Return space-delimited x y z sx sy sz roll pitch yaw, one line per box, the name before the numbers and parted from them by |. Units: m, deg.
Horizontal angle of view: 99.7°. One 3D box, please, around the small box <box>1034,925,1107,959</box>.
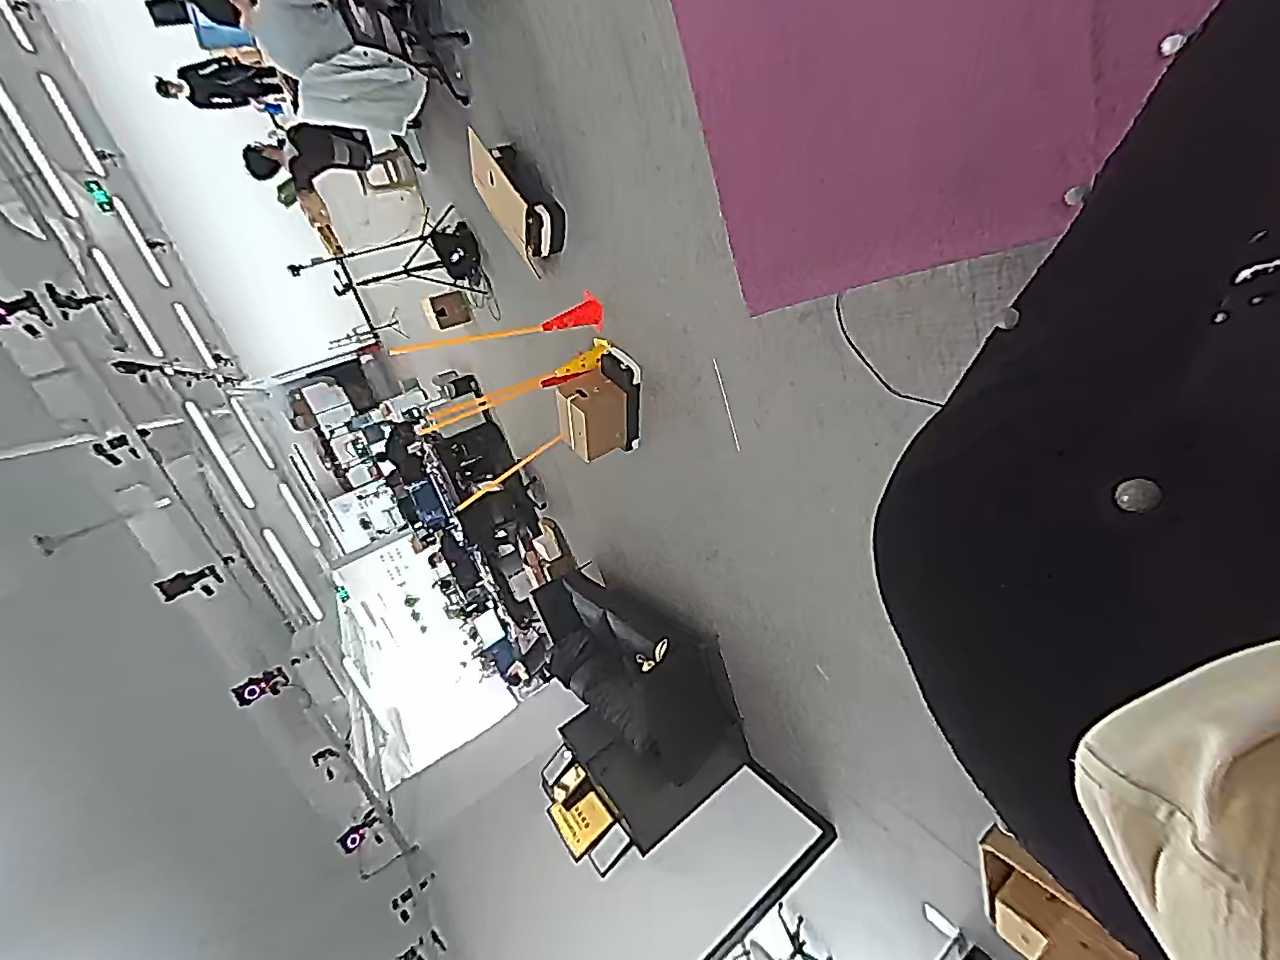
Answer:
small box | 1.114 1.296 1.369 0.168 0.176 0.179 16 129 58
